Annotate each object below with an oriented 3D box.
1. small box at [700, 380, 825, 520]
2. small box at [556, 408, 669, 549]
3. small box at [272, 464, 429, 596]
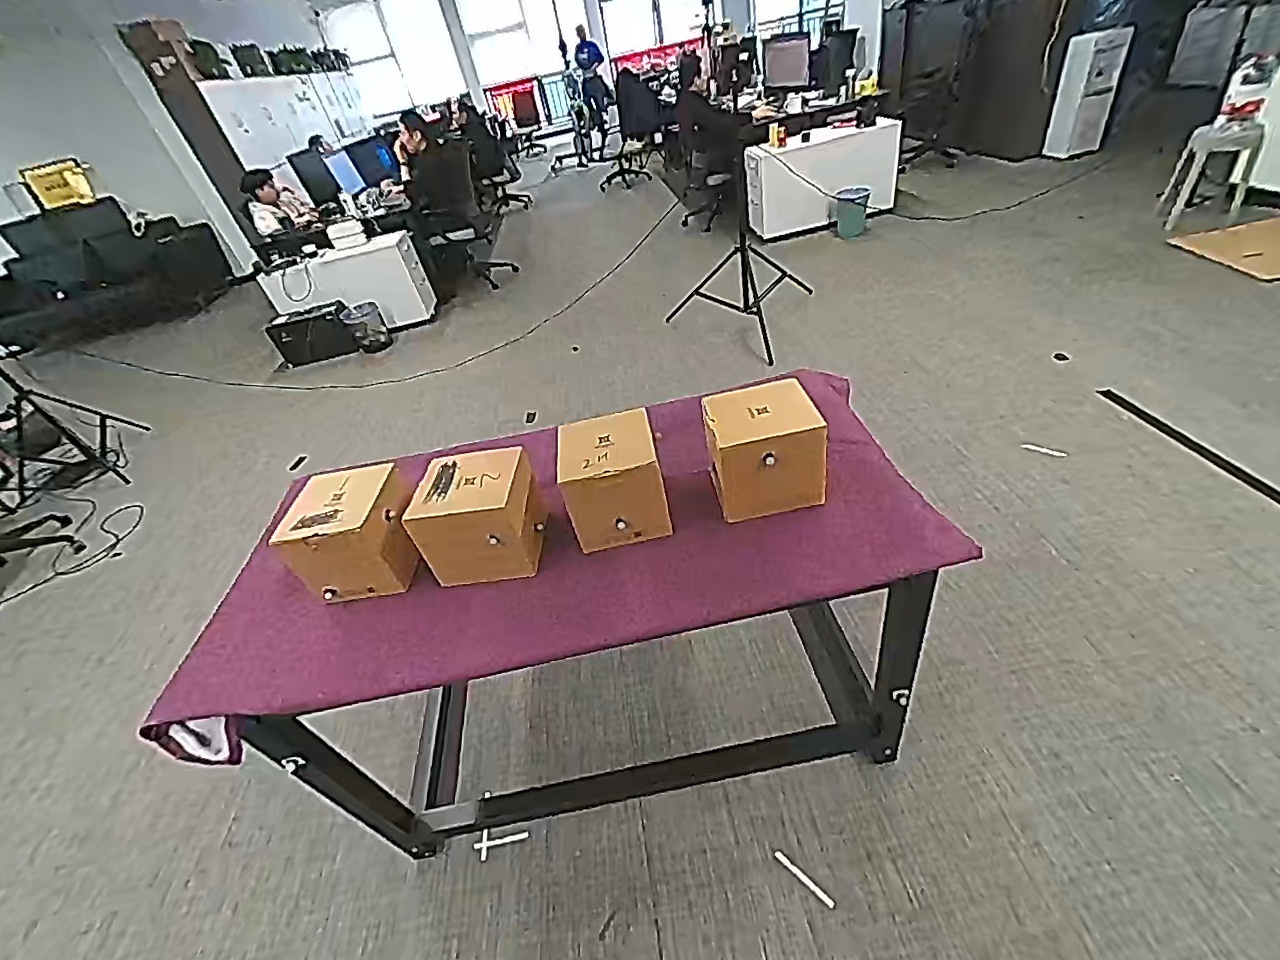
[{"bbox_3d":[0.214,-0.052,0.963,0.179,0.176,0.168,-12,37,2],"label":"small box"},{"bbox_3d":[-0.048,-0.002,0.981,0.168,0.176,0.179,-13,38,2],"label":"small box"},{"bbox_3d":[-0.515,0.097,0.996,0.168,0.176,0.179,-9,39,5],"label":"small box"}]
